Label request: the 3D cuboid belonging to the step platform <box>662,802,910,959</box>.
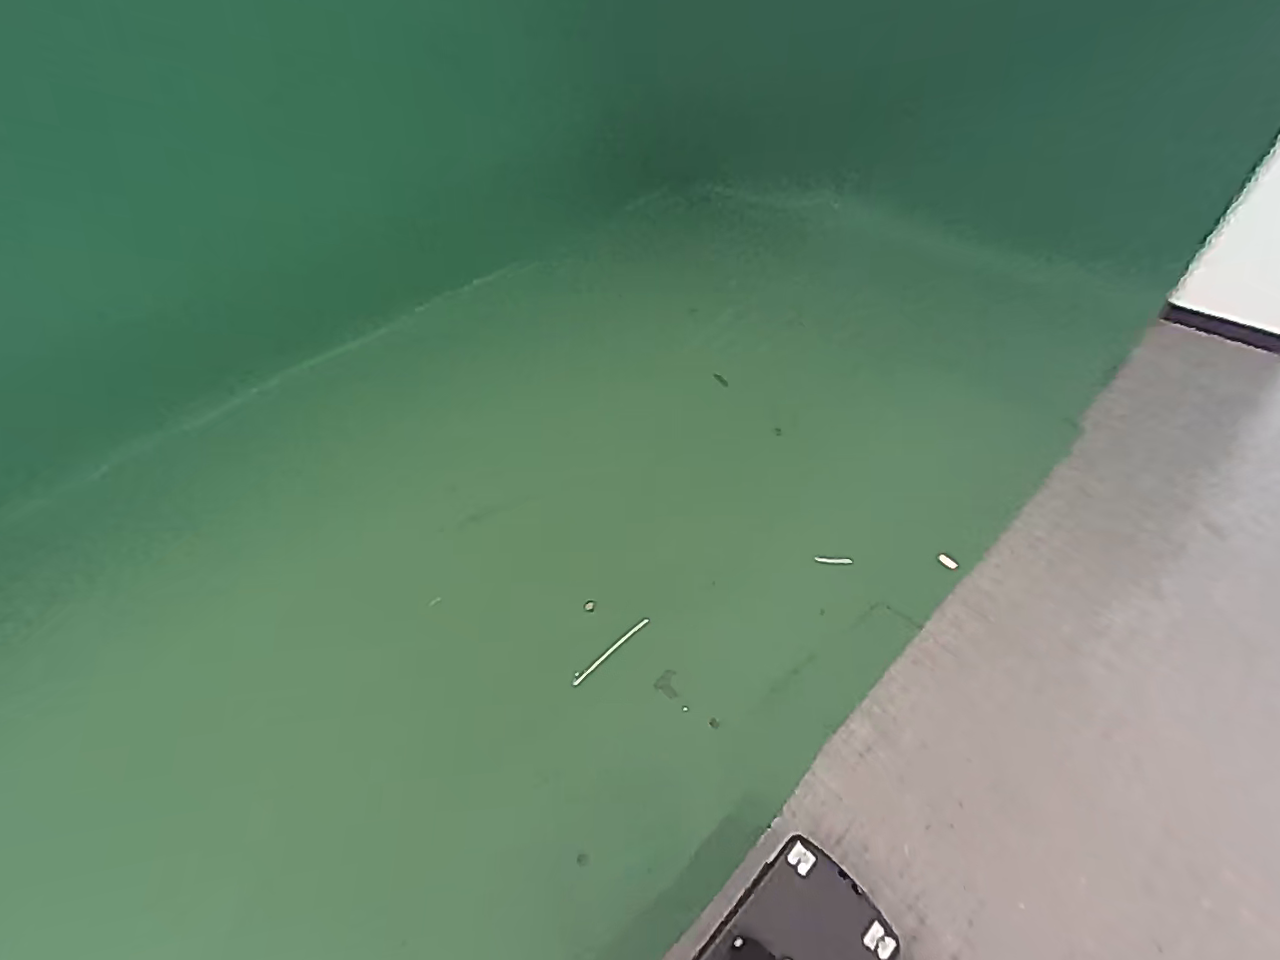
[{"bbox_3d":[0.177,0.959,0.983,0.684,0.204,0.286,-39,57,-21],"label":"step platform"}]
